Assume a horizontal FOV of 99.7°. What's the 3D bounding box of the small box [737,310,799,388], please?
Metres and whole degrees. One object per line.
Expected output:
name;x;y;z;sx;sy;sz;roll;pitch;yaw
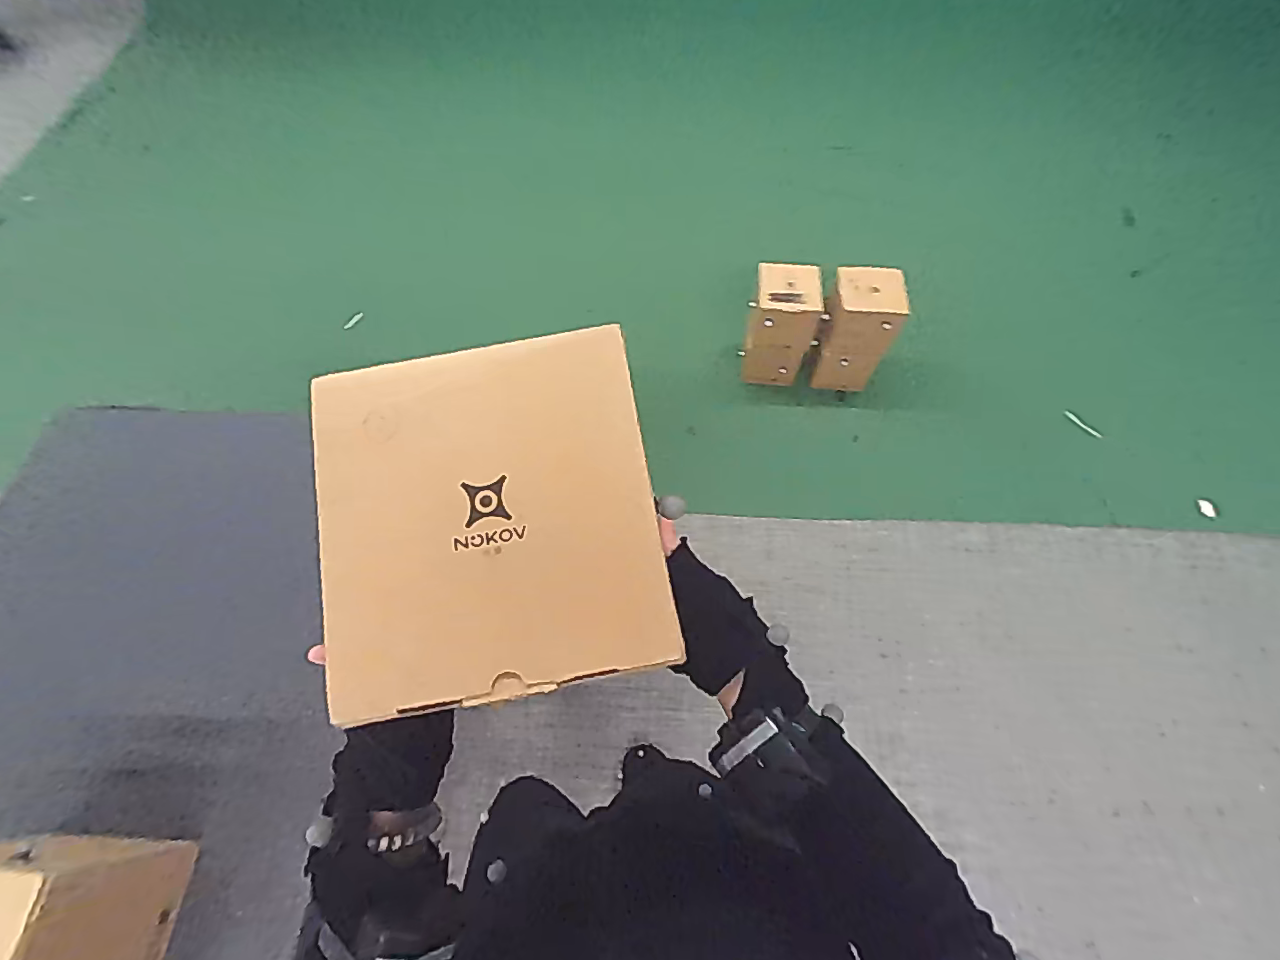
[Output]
small box;0.404;-0.411;1.714;0.168;0.176;0.179;6;63;4

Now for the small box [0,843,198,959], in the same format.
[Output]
small box;-0.567;0.441;0.492;0.179;0.176;0.168;0;63;3

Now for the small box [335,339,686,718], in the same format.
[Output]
small box;-0.070;0.036;0.355;0.168;0.176;0.179;-11;78;0
